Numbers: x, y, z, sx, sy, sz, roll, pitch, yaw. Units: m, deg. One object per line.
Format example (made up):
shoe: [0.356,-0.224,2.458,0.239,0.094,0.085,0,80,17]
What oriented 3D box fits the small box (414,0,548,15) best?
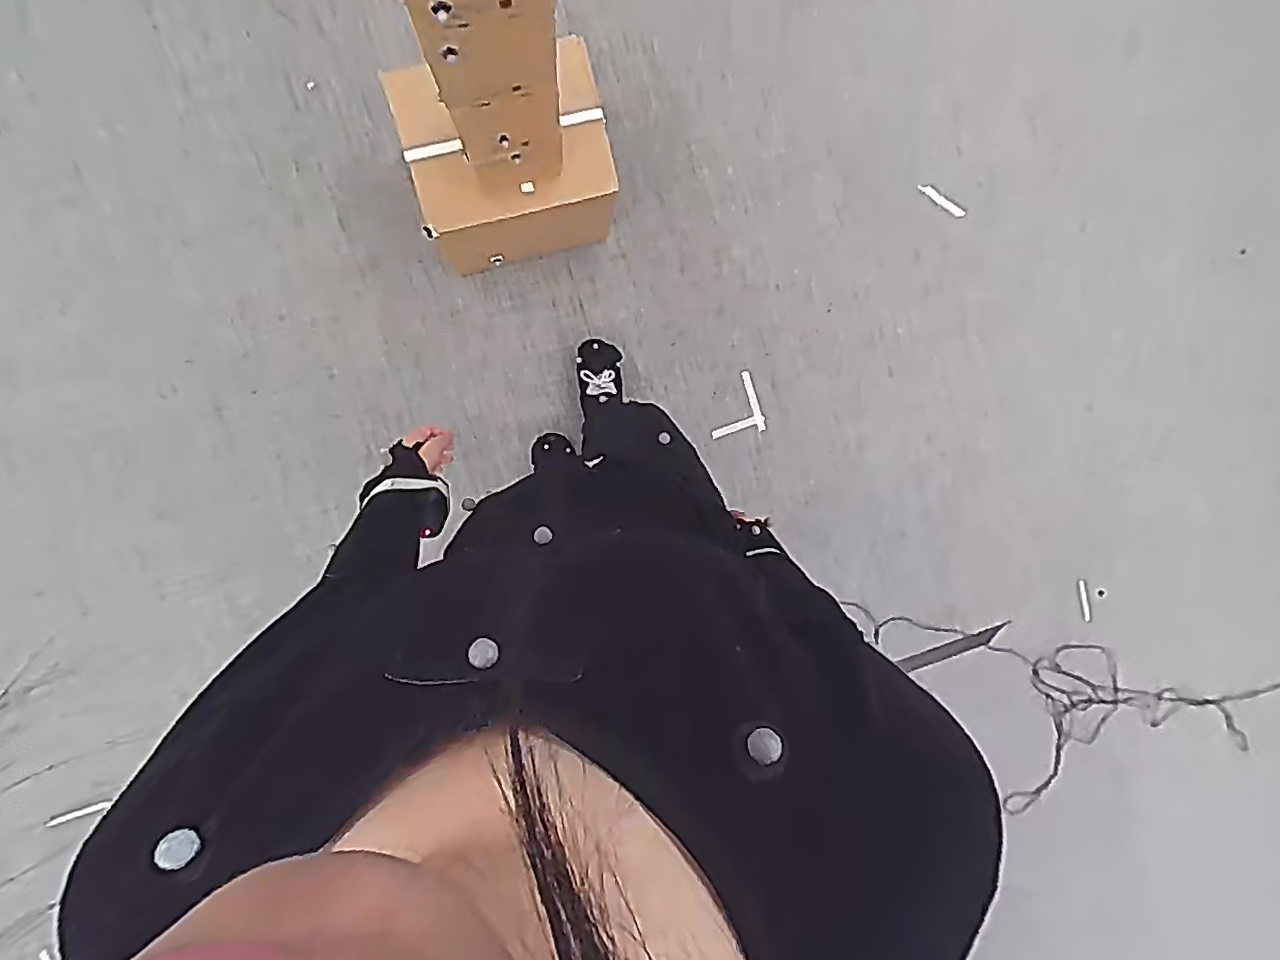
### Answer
small box: [-0.180,-0.604,0.528,0.168,0.176,0.179,-15,99,-6]

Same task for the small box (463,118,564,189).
small box: [-0.248,-0.673,1.009,0.179,0.176,0.168,-19,99,-7]

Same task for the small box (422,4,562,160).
small box: [-0.227,-0.646,0.850,0.168,0.176,0.179,-18,100,-6]
